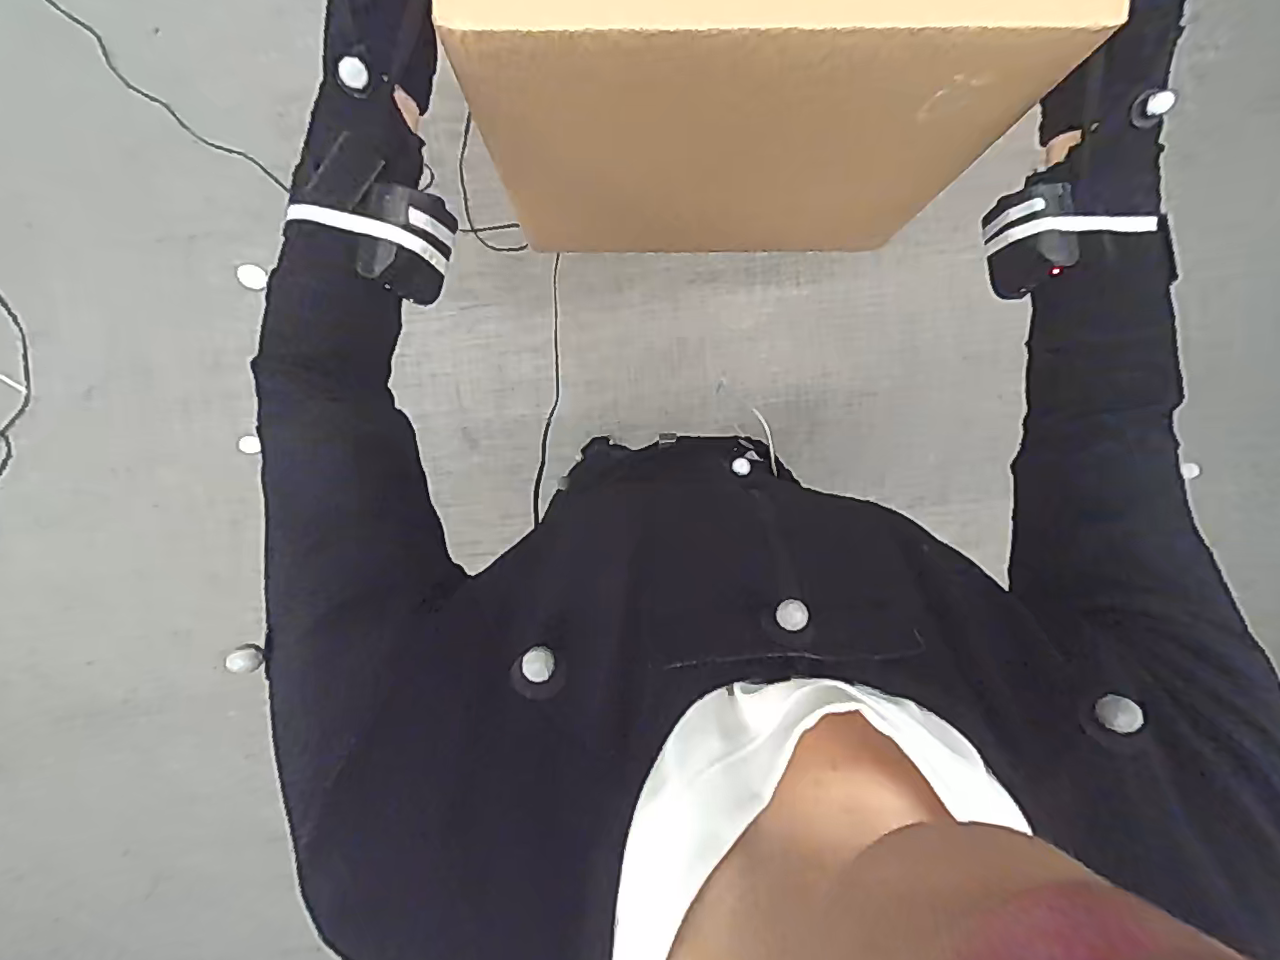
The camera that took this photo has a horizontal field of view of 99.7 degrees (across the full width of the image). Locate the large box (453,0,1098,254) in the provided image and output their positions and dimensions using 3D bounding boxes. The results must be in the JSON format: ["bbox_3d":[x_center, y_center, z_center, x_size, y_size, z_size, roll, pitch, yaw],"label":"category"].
[{"bbox_3d":[0.072,-0.419,0.477,0.408,0.320,0.320,-2,90,-2],"label":"large box"}]
